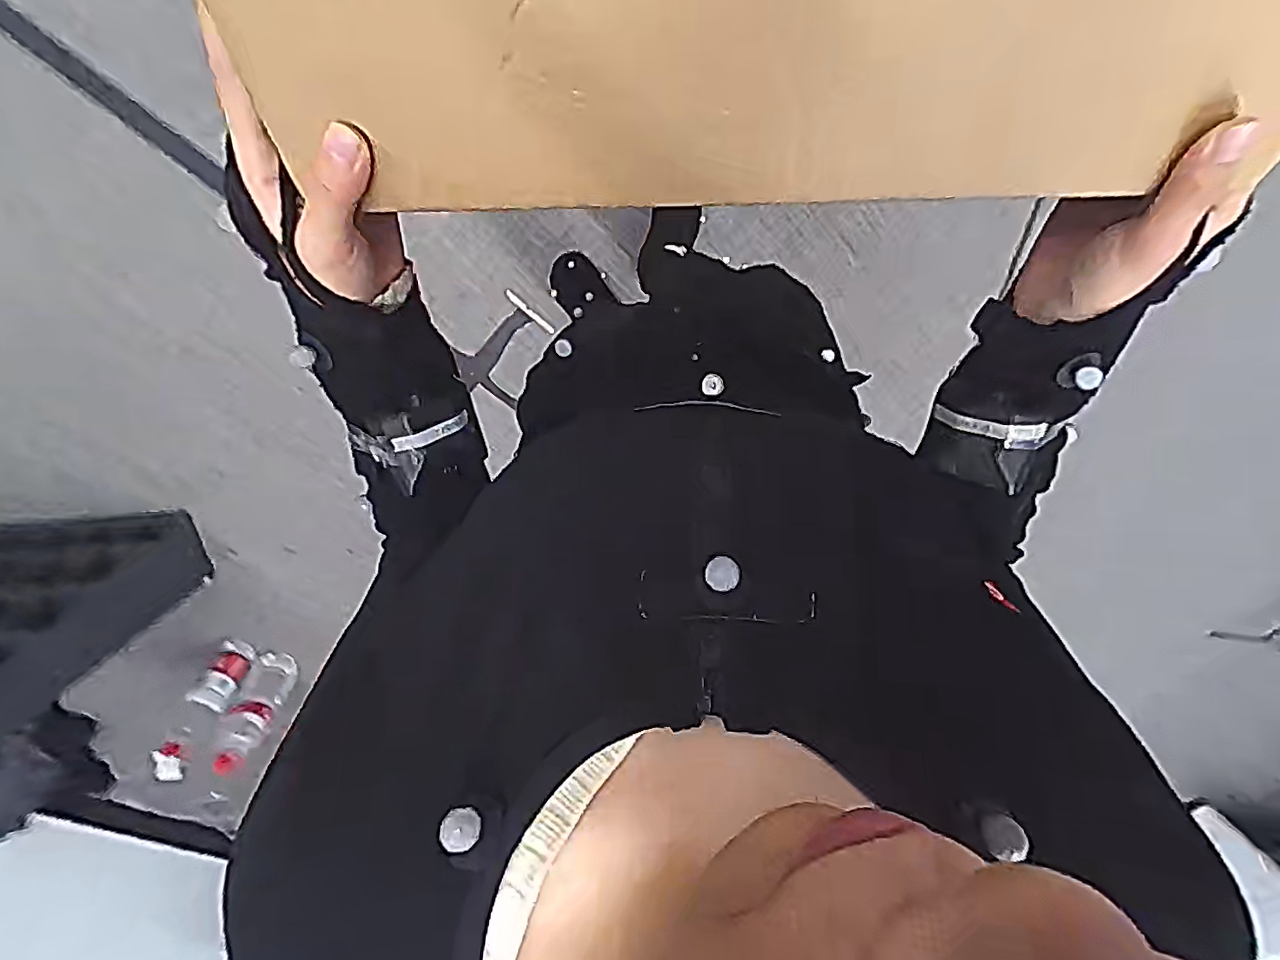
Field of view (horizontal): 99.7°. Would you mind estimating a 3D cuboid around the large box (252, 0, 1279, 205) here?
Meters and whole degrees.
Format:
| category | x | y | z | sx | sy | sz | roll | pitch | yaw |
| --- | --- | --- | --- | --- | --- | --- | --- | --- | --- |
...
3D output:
| category | x | y | z | sx | sy | sz | roll | pitch | yaw |
| --- | --- | --- | --- | --- | --- | --- | --- | --- | --- |
| large box | 0.058 | -0.340 | 0.224 | 0.408 | 0.320 | 0.320 | 0 | 139 | 1 |
